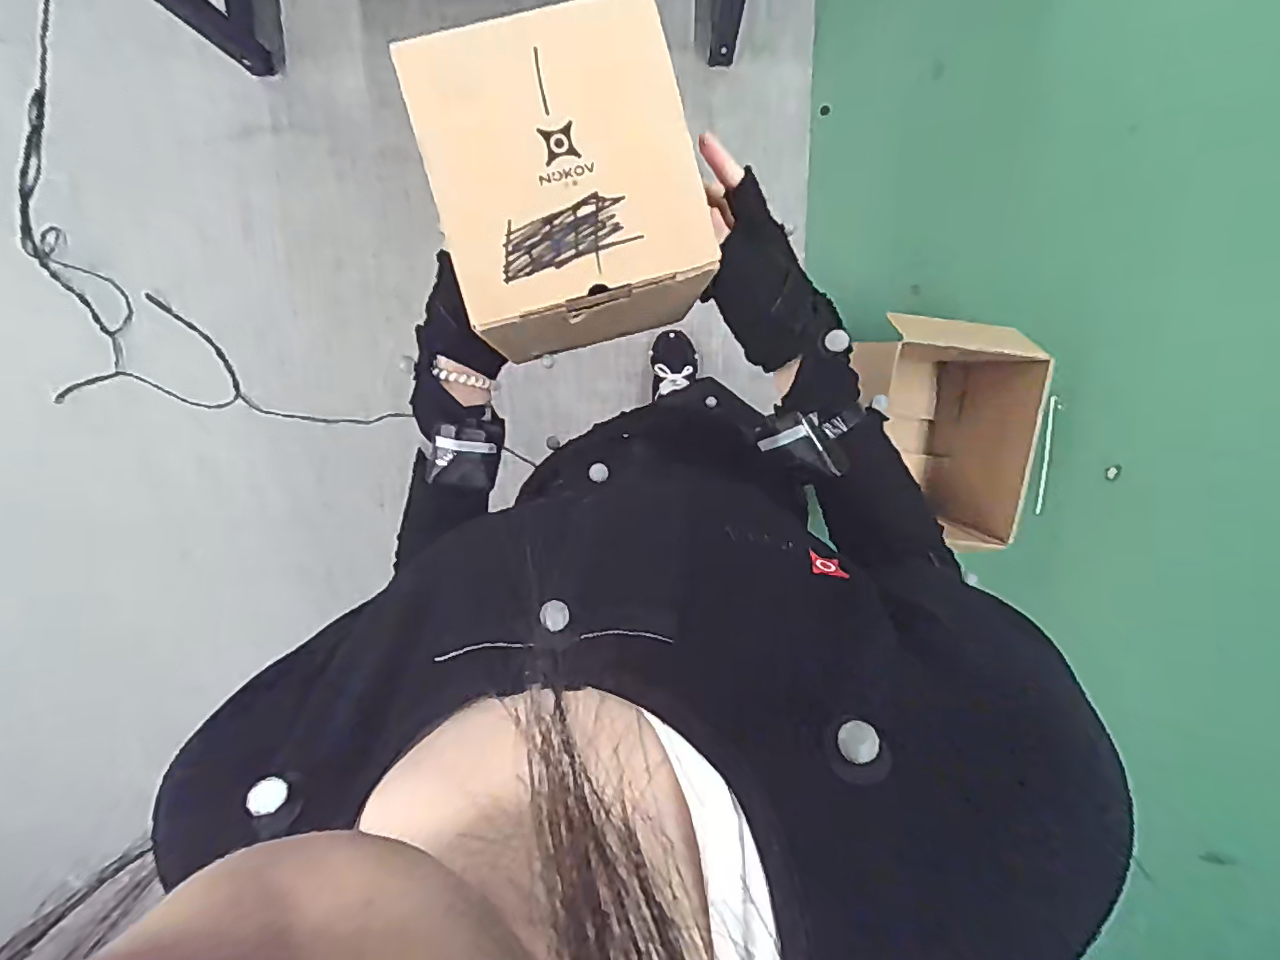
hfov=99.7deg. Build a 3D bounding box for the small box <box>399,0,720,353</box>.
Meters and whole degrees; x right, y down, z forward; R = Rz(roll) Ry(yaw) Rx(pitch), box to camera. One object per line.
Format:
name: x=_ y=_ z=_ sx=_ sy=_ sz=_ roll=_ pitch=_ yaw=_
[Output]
small box: x=-0.052 y=-0.205 z=0.416 sx=0.168 sy=0.176 sz=0.179 roll=-16 pitch=95 yaw=-4
